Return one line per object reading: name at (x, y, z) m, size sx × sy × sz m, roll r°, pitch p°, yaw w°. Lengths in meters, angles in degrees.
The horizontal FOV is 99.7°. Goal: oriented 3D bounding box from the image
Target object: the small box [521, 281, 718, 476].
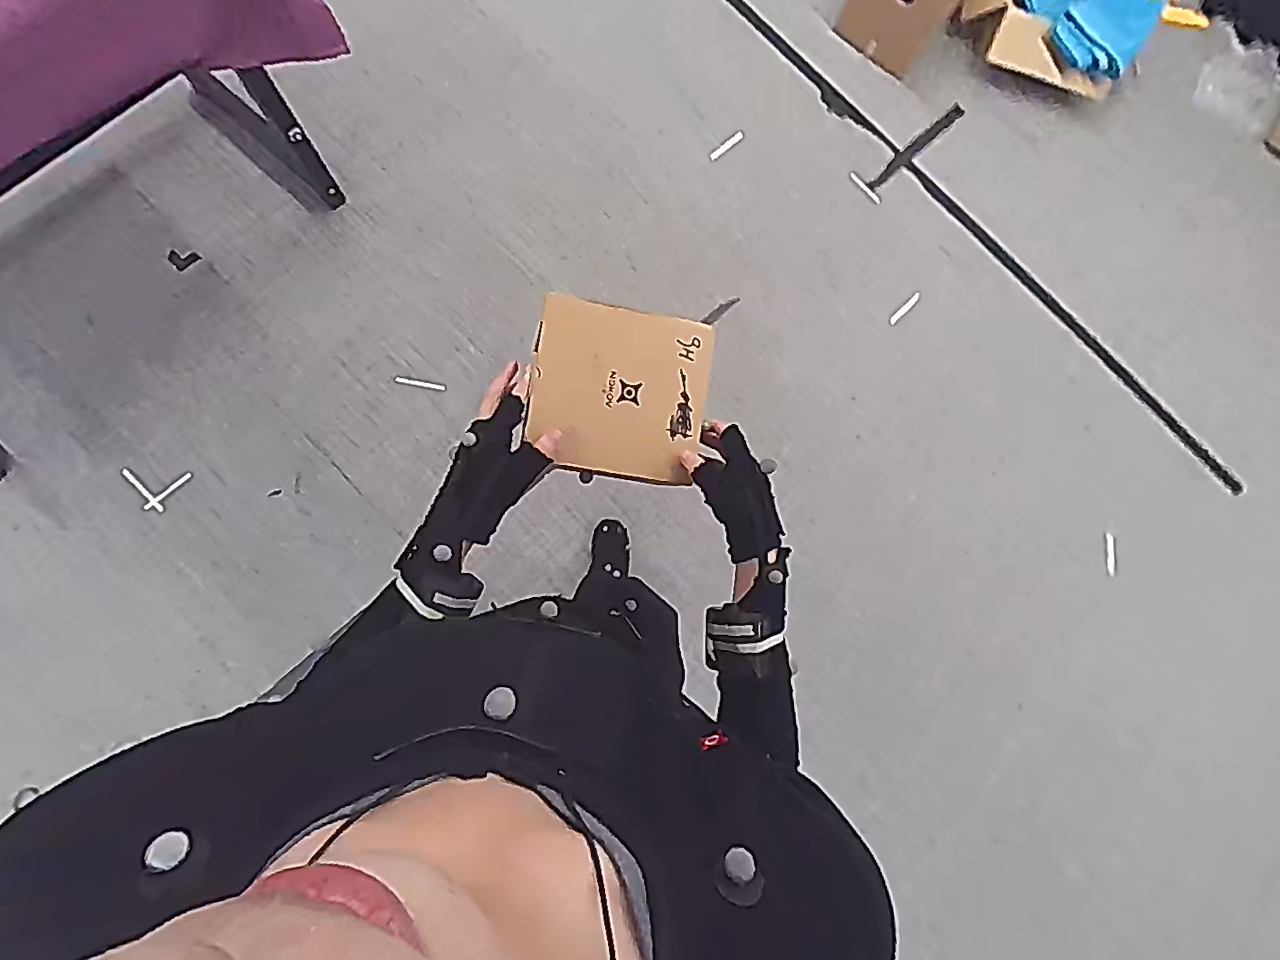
small box at (-0.029, -0.097, 0.603) m, size 0.179 × 0.176 × 0.168 m, roll 8°, pitch 87°, yaw -9°
